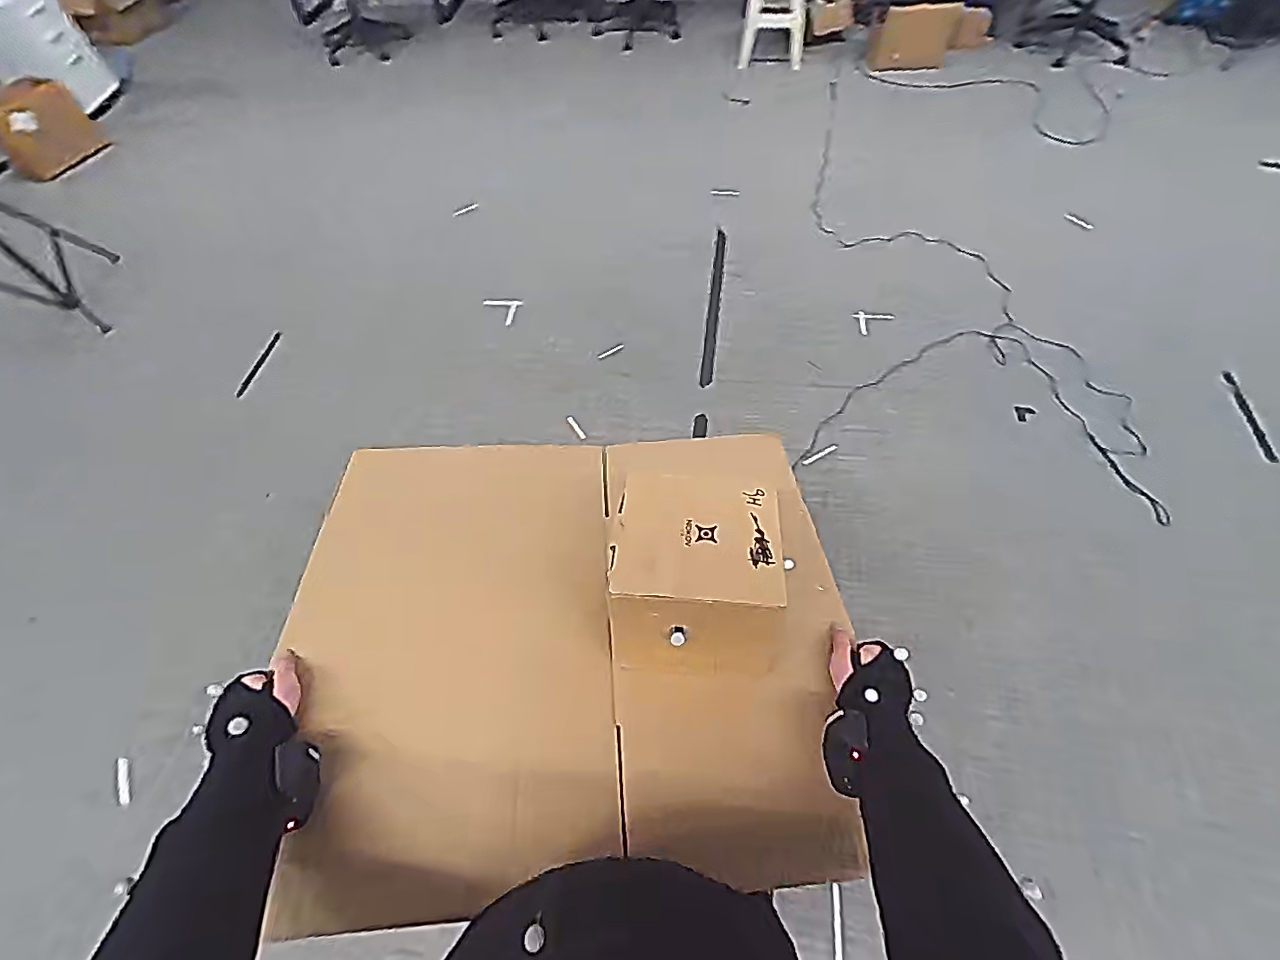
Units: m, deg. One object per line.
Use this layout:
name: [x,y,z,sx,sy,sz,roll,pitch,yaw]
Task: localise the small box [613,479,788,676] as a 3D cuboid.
small box: [0.072,0.117,0.642,0.179,0.176,0.168,3,47,6]
